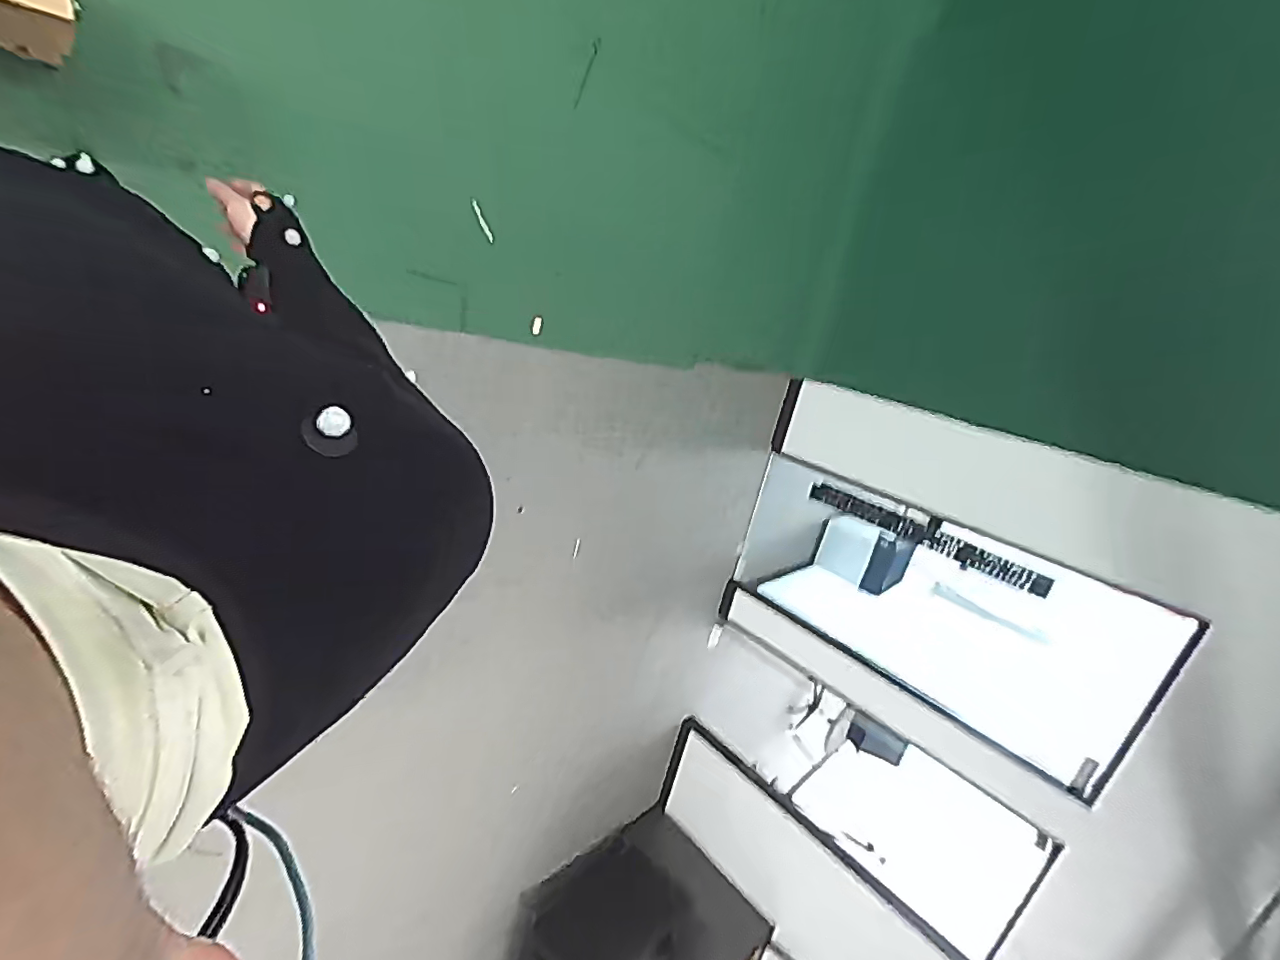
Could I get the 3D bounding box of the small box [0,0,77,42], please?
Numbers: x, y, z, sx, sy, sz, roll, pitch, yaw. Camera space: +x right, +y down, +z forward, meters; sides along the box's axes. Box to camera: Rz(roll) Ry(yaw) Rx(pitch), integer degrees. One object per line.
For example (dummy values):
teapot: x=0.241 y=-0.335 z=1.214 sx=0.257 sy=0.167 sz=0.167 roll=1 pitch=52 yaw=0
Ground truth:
small box: x=-0.832 y=-0.679 z=0.667 sx=0.179 sy=0.176 sz=0.168 roll=-10 pitch=119 yaw=-44

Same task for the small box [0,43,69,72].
small box: x=-1.058 y=-0.793 z=0.874 sx=0.179 sy=0.176 sz=0.168 roll=-4 pitch=114 yaw=-46

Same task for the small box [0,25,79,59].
small box: x=-0.942 y=-0.737 z=0.774 sx=0.179 sy=0.176 sz=0.168 roll=-7 pitch=117 yaw=-44
